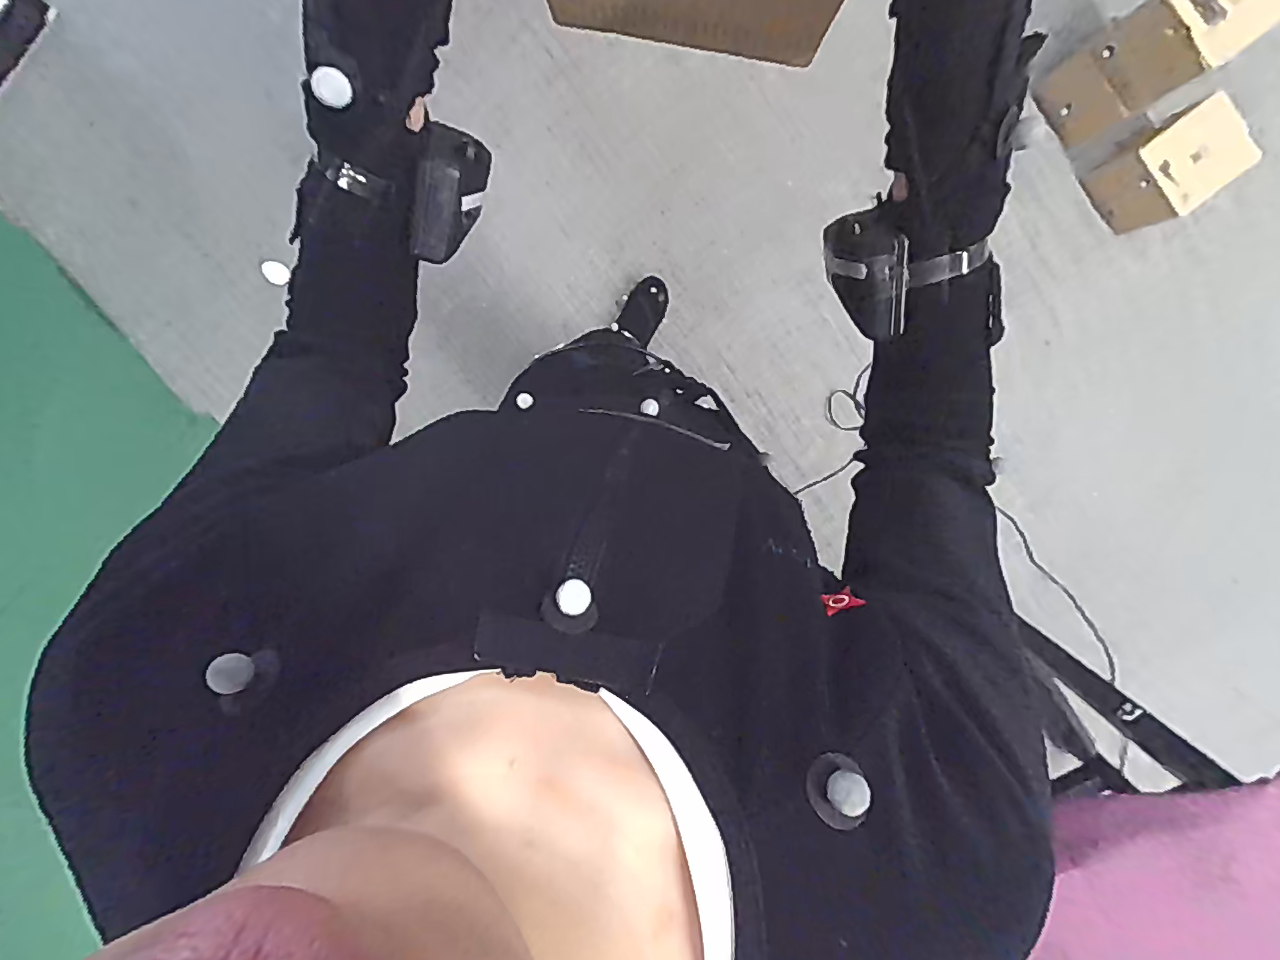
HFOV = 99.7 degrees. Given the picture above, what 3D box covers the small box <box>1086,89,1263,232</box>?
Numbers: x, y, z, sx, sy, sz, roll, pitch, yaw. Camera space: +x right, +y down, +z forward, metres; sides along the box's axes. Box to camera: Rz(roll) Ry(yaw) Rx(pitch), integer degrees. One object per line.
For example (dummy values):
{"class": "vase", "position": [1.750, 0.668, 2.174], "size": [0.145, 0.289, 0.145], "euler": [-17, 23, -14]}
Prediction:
{"class": "small box", "position": [1.127, -0.669, 1.157], "size": [0.179, 0.176, 0.168], "euler": [-39, 96, 11]}
